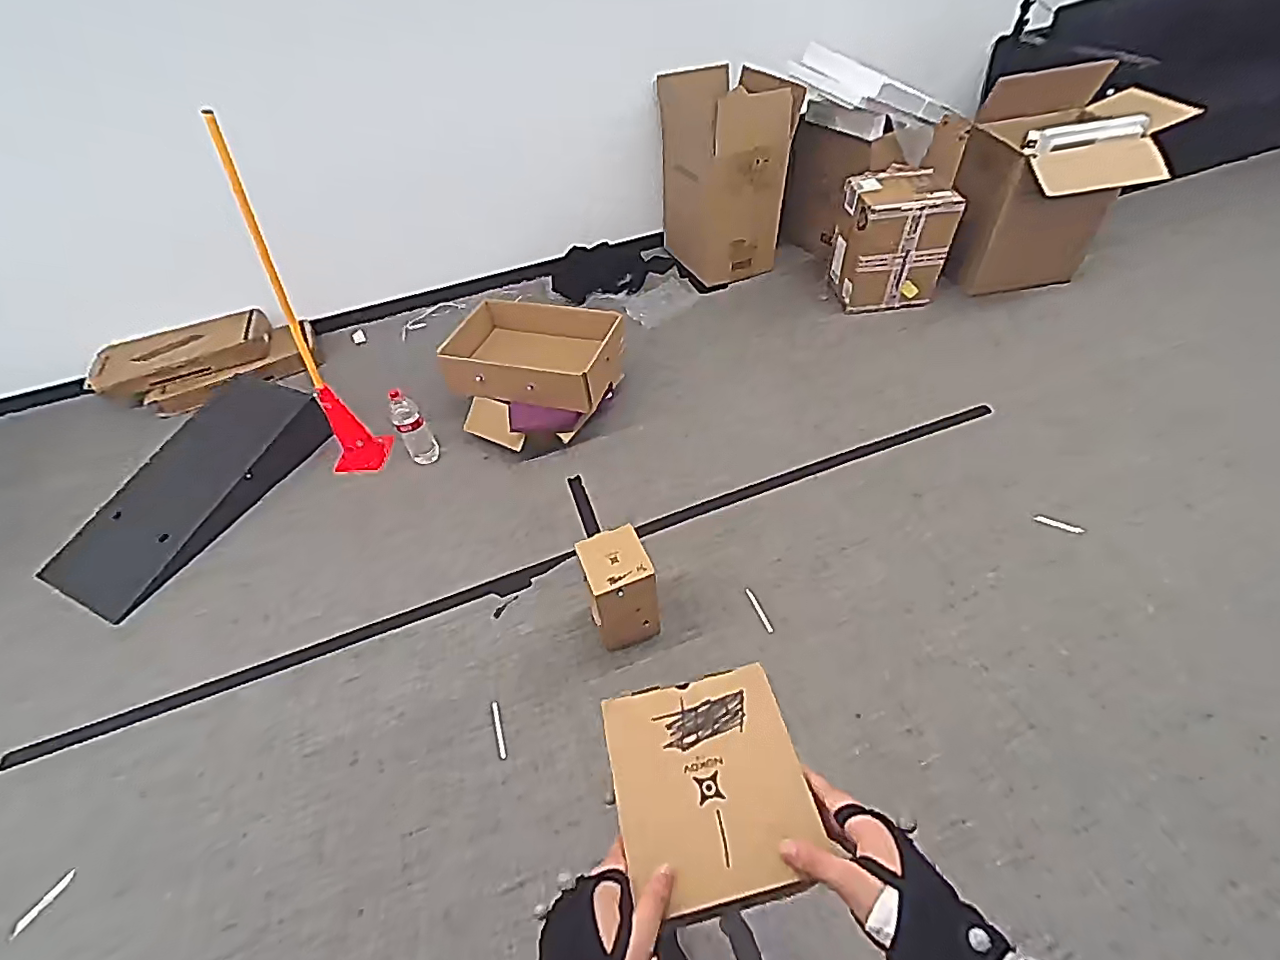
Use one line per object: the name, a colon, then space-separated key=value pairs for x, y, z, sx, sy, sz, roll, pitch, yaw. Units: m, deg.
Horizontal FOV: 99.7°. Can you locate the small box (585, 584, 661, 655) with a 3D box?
small box: x=-0.046 y=0.378 z=1.569 sx=0.179 sy=0.176 sz=0.168 roll=-19 pitch=48 yaw=-9

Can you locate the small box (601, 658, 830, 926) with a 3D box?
small box: x=0.061 y=0.309 z=0.537 sx=0.168 sy=0.176 sz=0.179 roll=-12 pitch=48 yaw=-5

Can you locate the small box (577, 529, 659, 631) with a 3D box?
small box: x=-0.058 y=0.268 z=1.448 sx=0.168 sy=0.176 sz=0.179 roll=-20 pitch=47 yaw=-11
